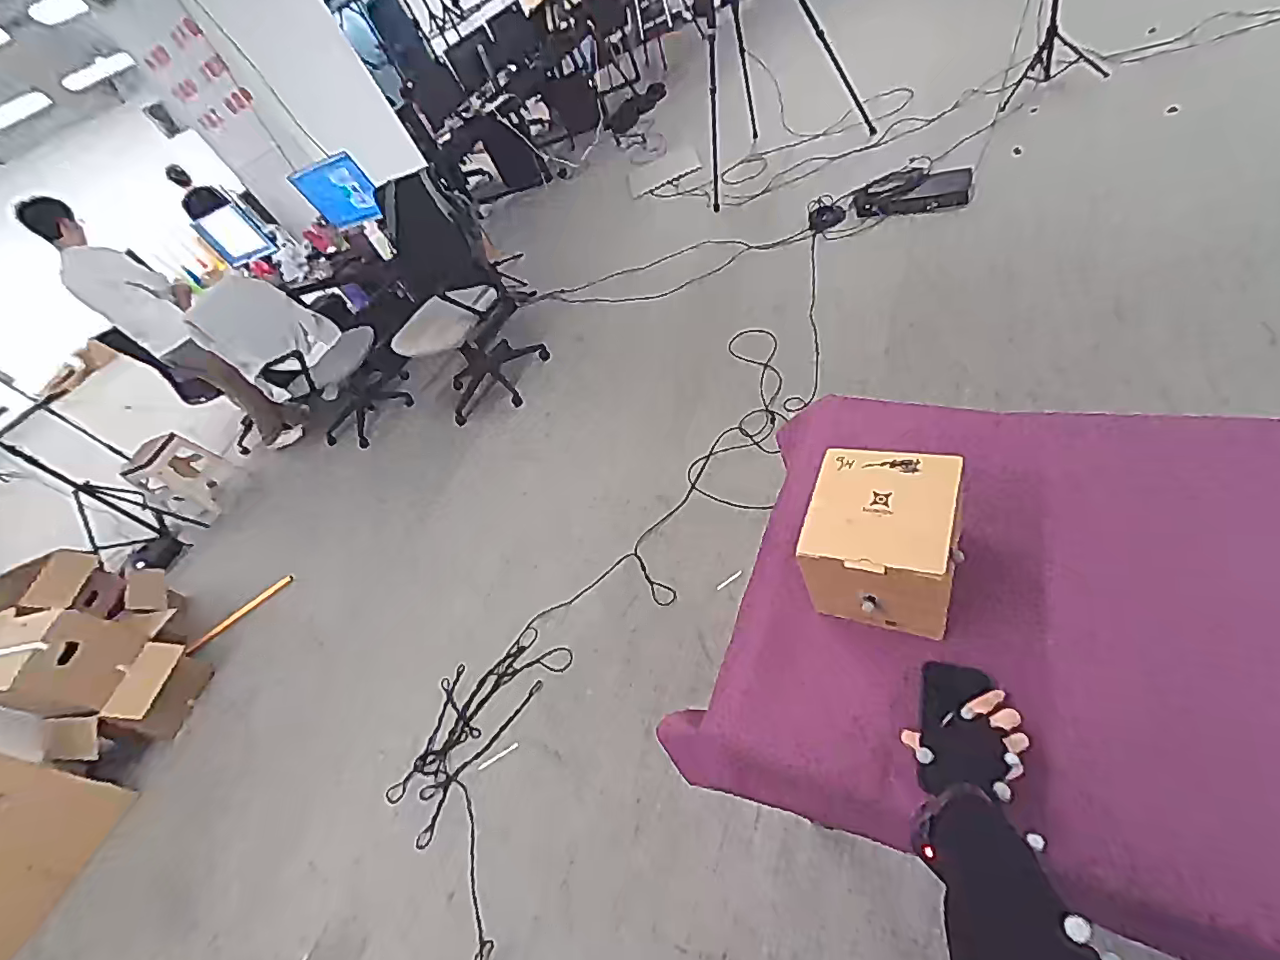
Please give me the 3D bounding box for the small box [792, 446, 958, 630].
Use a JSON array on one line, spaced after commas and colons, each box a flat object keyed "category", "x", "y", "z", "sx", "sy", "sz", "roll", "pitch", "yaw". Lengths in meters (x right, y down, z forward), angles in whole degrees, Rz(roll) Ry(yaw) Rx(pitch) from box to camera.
[{"category": "small box", "x": 0.321, "y": 0.077, "z": 0.722, "sx": 0.168, "sy": 0.176, "sz": 0.179, "roll": 7, "pitch": 56, "yaw": 33}]
